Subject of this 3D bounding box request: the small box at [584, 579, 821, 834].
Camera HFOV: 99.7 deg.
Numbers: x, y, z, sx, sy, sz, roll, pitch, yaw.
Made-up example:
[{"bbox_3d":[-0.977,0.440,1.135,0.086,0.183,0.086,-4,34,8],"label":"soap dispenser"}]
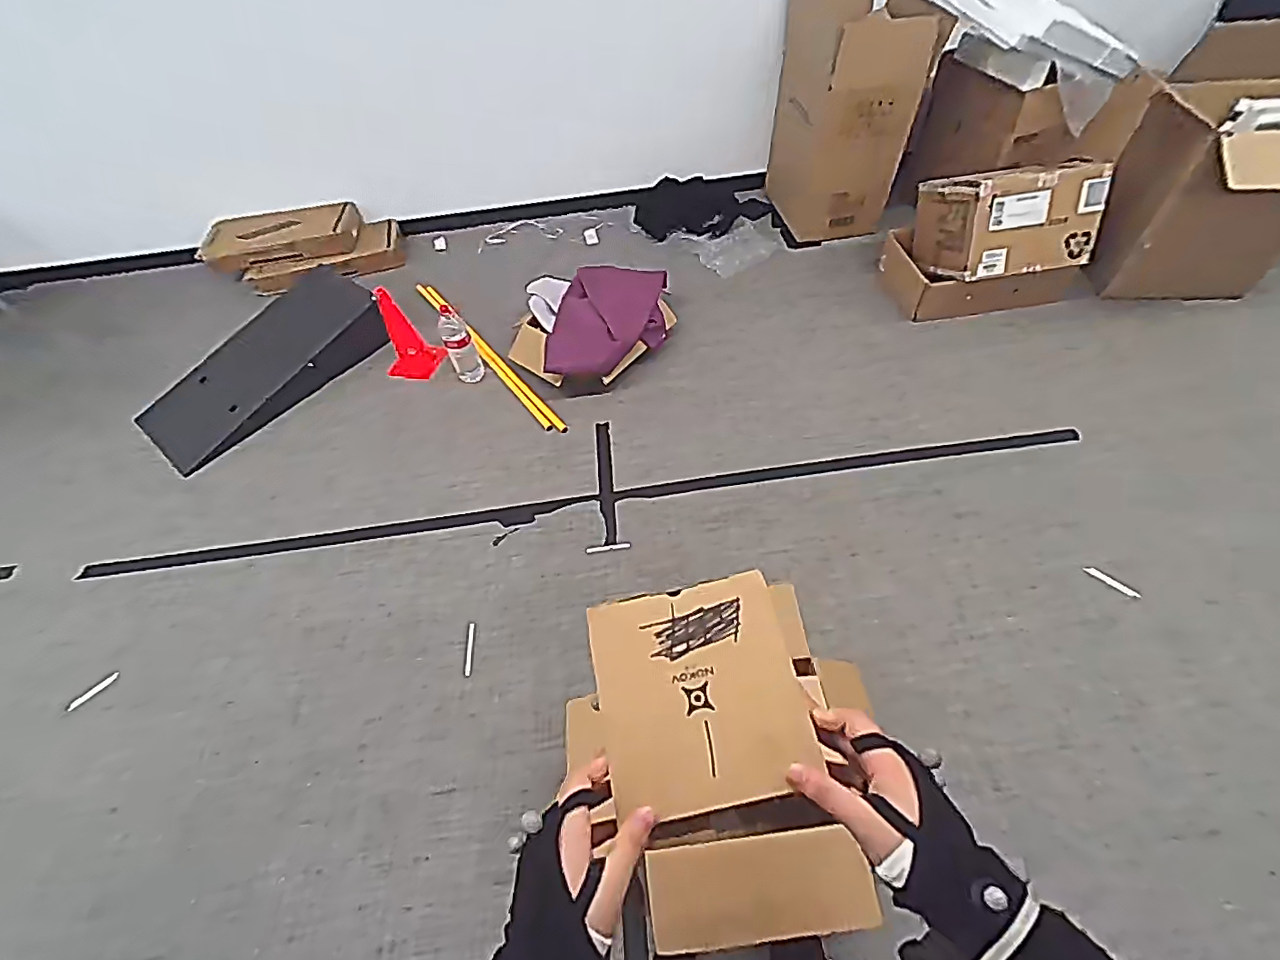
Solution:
[{"bbox_3d":[0.051,0.220,0.518,0.168,0.176,0.179,-13,59,0],"label":"small box"}]
